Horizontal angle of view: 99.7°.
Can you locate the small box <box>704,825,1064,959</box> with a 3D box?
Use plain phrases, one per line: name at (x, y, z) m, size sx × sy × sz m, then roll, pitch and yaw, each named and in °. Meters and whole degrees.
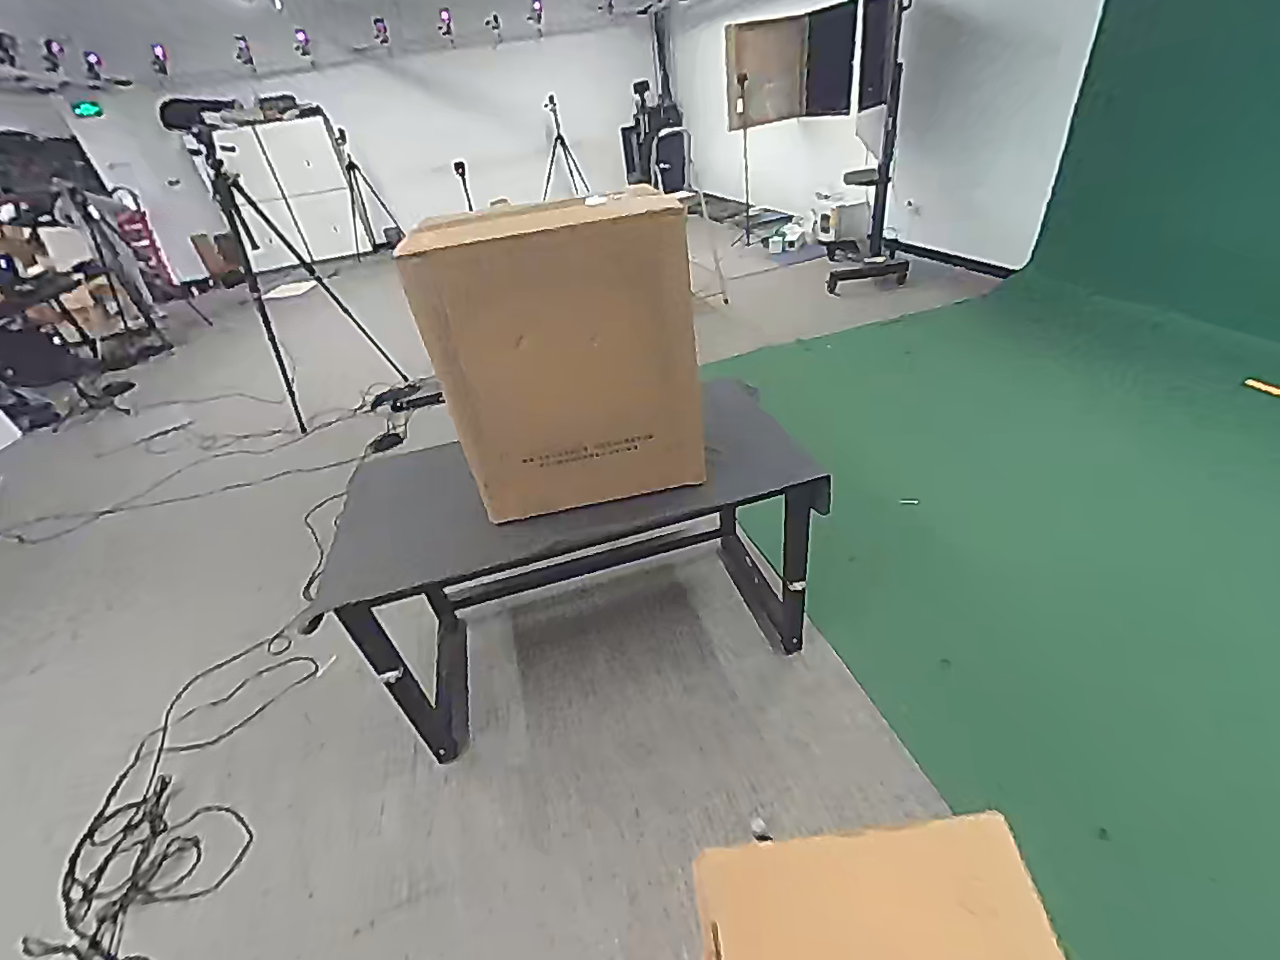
small box at (0.140, 0.319, 0.330) m, size 0.179 × 0.176 × 0.168 m, roll -8°, pitch 54°, yaw 0°
